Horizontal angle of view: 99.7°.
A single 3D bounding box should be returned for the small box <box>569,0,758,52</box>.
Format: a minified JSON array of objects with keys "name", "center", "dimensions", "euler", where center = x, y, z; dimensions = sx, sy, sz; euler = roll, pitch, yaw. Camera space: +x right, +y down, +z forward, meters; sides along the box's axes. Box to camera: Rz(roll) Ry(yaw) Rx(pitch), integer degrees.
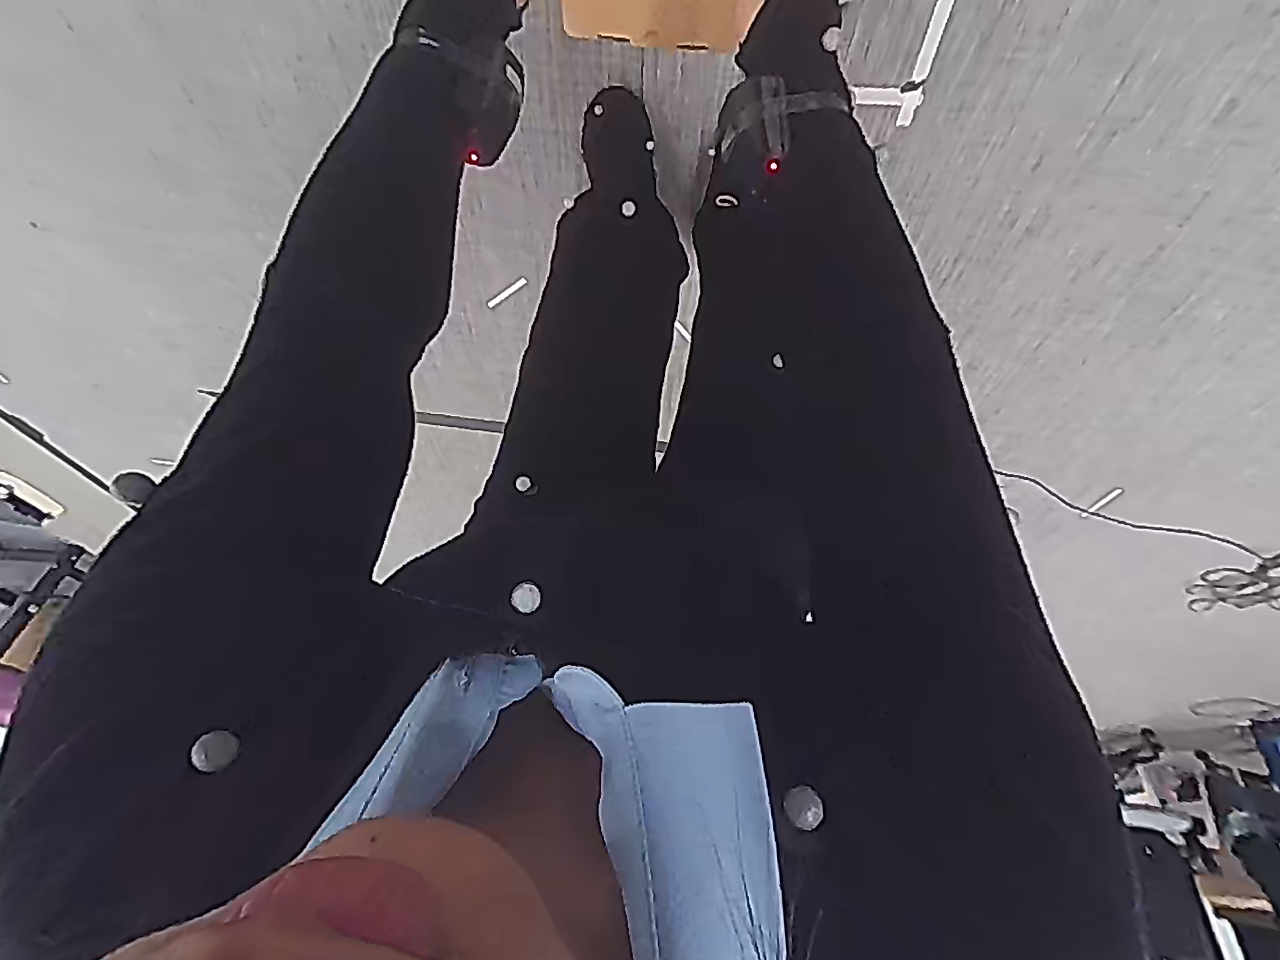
[{"name":"small box","center":[0.031,-0.510,0.464],"dimensions":[0.168,0.176,0.179],"euler":[7,145,1]}]
